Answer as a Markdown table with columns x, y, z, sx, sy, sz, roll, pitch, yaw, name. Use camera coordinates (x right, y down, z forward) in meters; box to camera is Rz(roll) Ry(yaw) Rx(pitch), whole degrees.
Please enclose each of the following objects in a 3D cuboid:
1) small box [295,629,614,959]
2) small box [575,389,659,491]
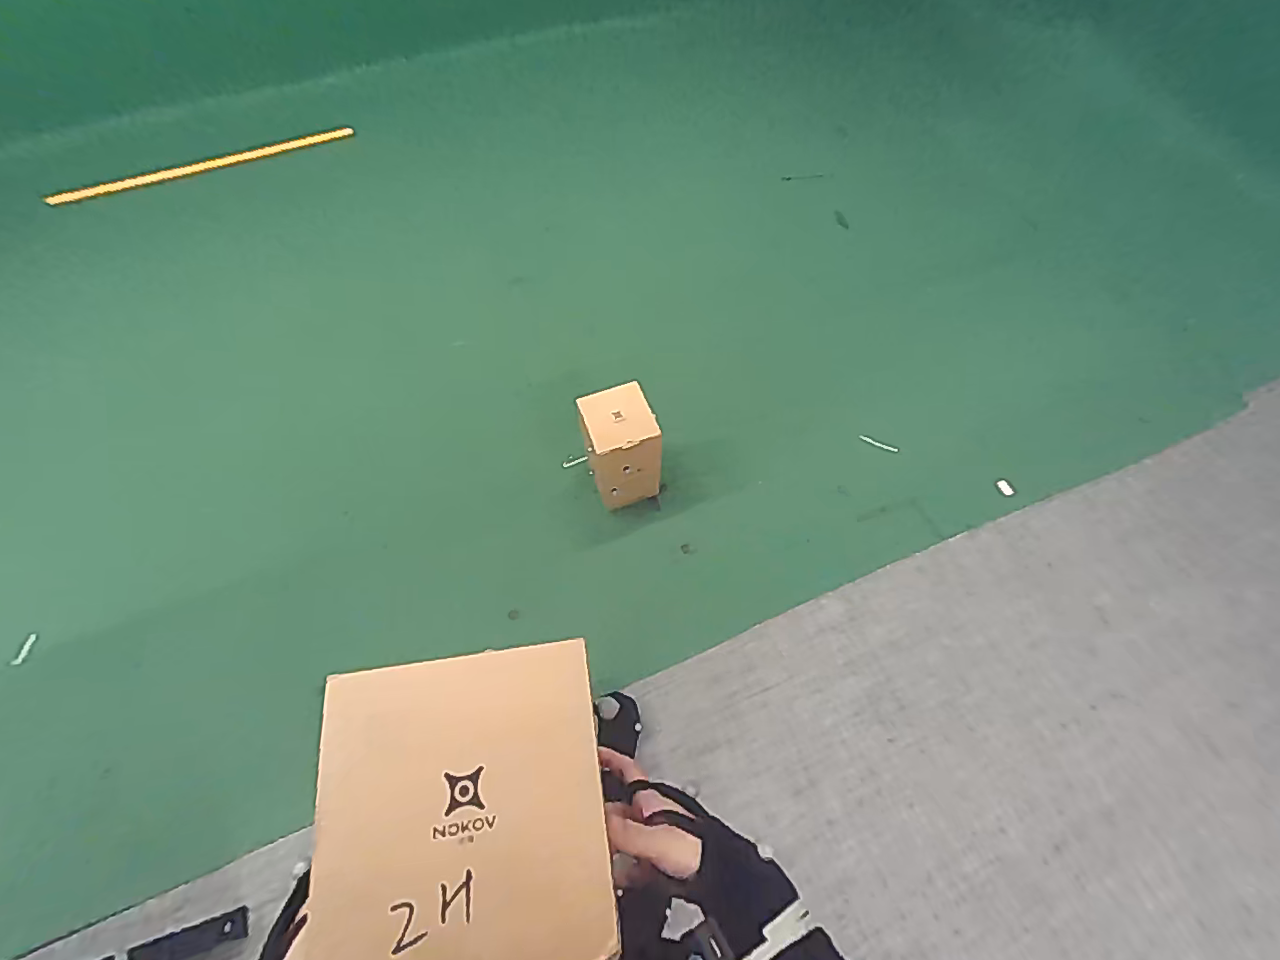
| x | y | z | sx | sy | sz | roll | pitch | yaw | name |
| --- | --- | --- | --- | --- | --- | --- | --- | --- | --- |
| -0.113 | 0.221 | 0.389 | 0.168 | 0.176 | 0.179 | -6 | 64 | -7 | small box |
| -0.060 | -0.100 | 1.397 | 0.168 | 0.176 | 0.179 | -19 | 63 | -10 | small box |
